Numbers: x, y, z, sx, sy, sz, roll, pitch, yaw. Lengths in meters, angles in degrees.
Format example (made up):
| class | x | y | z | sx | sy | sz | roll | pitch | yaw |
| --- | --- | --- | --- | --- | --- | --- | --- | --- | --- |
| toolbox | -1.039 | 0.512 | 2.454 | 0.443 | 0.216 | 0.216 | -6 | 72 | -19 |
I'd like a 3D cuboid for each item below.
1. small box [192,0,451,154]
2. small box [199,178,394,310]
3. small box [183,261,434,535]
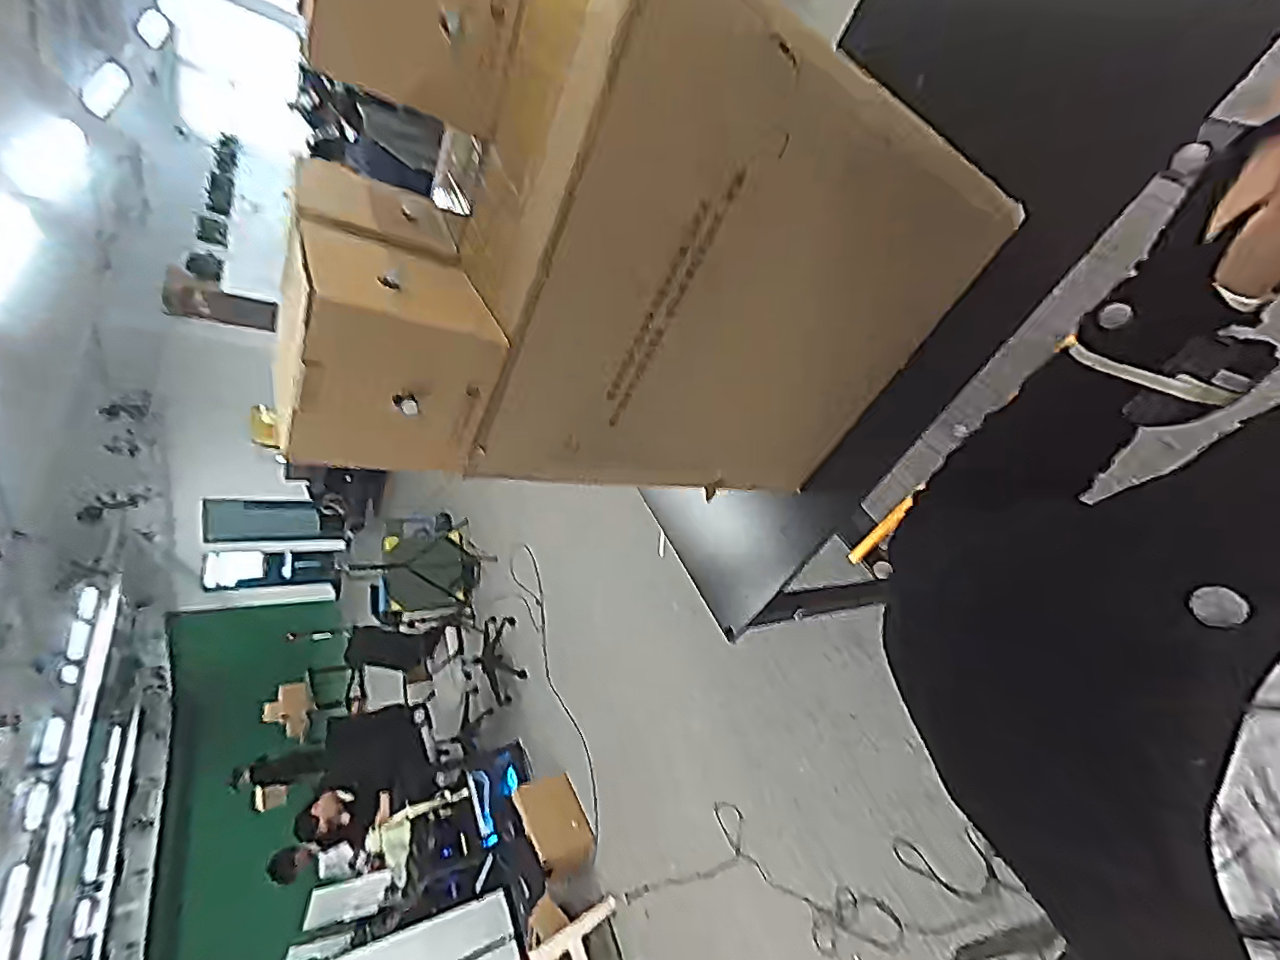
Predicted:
| class | x | y | z | sx | sy | sz | roll | pitch | yaw |
| --- | --- | --- | --- | --- | --- | --- | --- | --- | --- |
| small box | -0.276 | -0.420 | 0.477 | 0.168 | 0.176 | 0.179 | -62 | 41 | 33 |
| small box | -0.392 | -0.203 | 0.625 | 0.179 | 0.176 | 0.168 | -58 | 44 | 32 |
| small box | -0.305 | -0.069 | 0.496 | 0.179 | 0.176 | 0.168 | 52 | 125 | 38 |
